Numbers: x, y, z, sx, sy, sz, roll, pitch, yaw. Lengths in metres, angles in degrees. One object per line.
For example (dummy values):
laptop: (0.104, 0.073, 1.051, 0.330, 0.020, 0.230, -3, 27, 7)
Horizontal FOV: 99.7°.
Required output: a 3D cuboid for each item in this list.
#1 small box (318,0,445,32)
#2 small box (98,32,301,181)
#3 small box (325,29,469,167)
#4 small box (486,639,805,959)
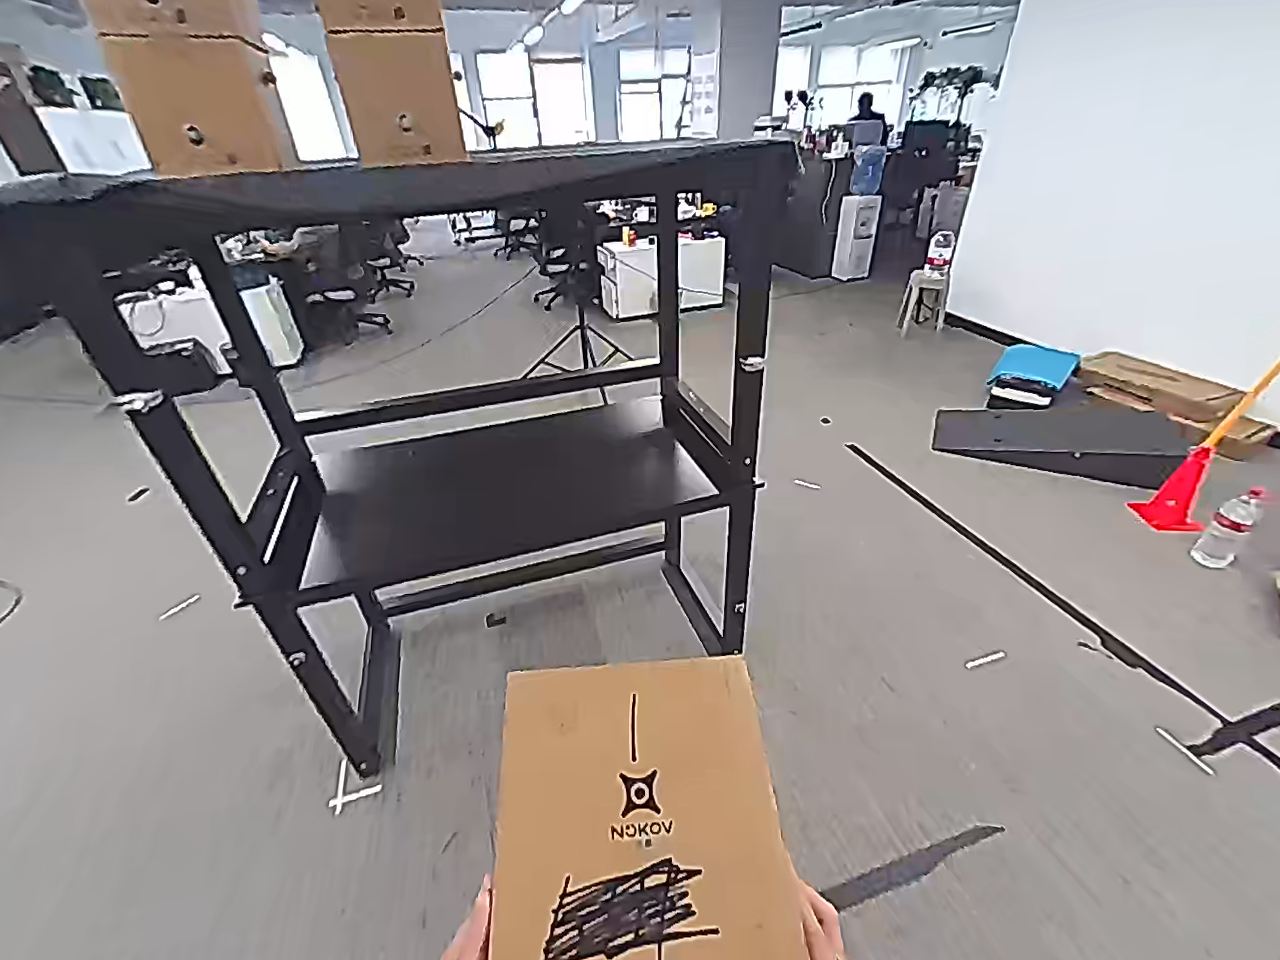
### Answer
small box: (-0.389, -0.752, 0.797, 0.168, 0.176, 0.179, -11, 33, -13)
small box: (-0.640, -0.552, 0.818, 0.168, 0.176, 0.179, -12, 33, -15)
small box: (-0.381, -0.610, 0.882, 0.168, 0.176, 0.179, -12, 32, -12)
small box: (-0.002, 0.230, 0.382, 0.168, 0.176, 0.179, -2, 52, -4)
